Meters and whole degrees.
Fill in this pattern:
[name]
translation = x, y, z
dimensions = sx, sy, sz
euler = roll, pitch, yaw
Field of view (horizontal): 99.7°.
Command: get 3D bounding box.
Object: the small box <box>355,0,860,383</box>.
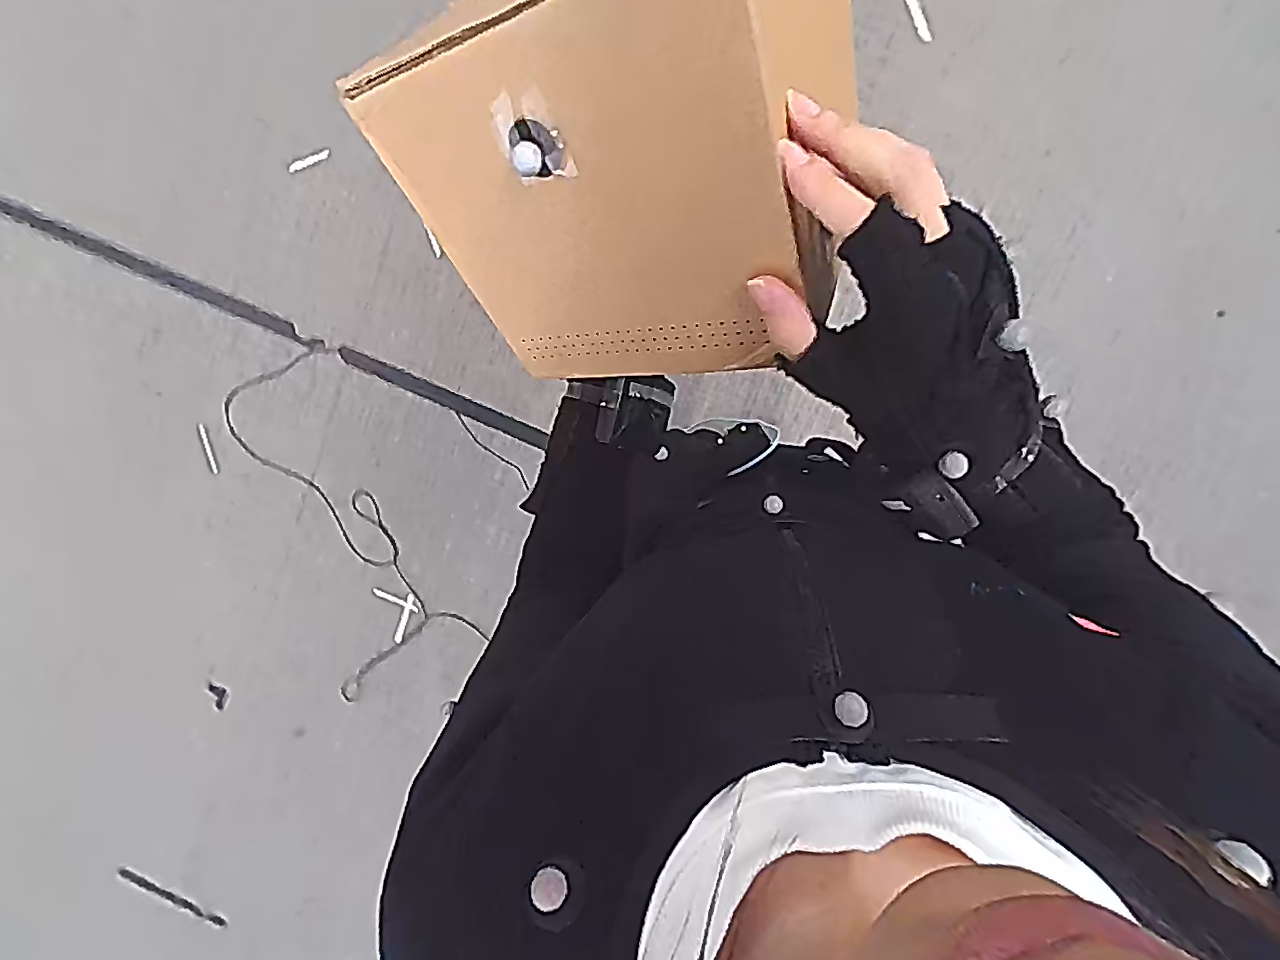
[small box]
translation = 0.007, -0.166, 0.284
dimensions = 0.179, 0.176, 0.168
euler = 2, 56, 29
